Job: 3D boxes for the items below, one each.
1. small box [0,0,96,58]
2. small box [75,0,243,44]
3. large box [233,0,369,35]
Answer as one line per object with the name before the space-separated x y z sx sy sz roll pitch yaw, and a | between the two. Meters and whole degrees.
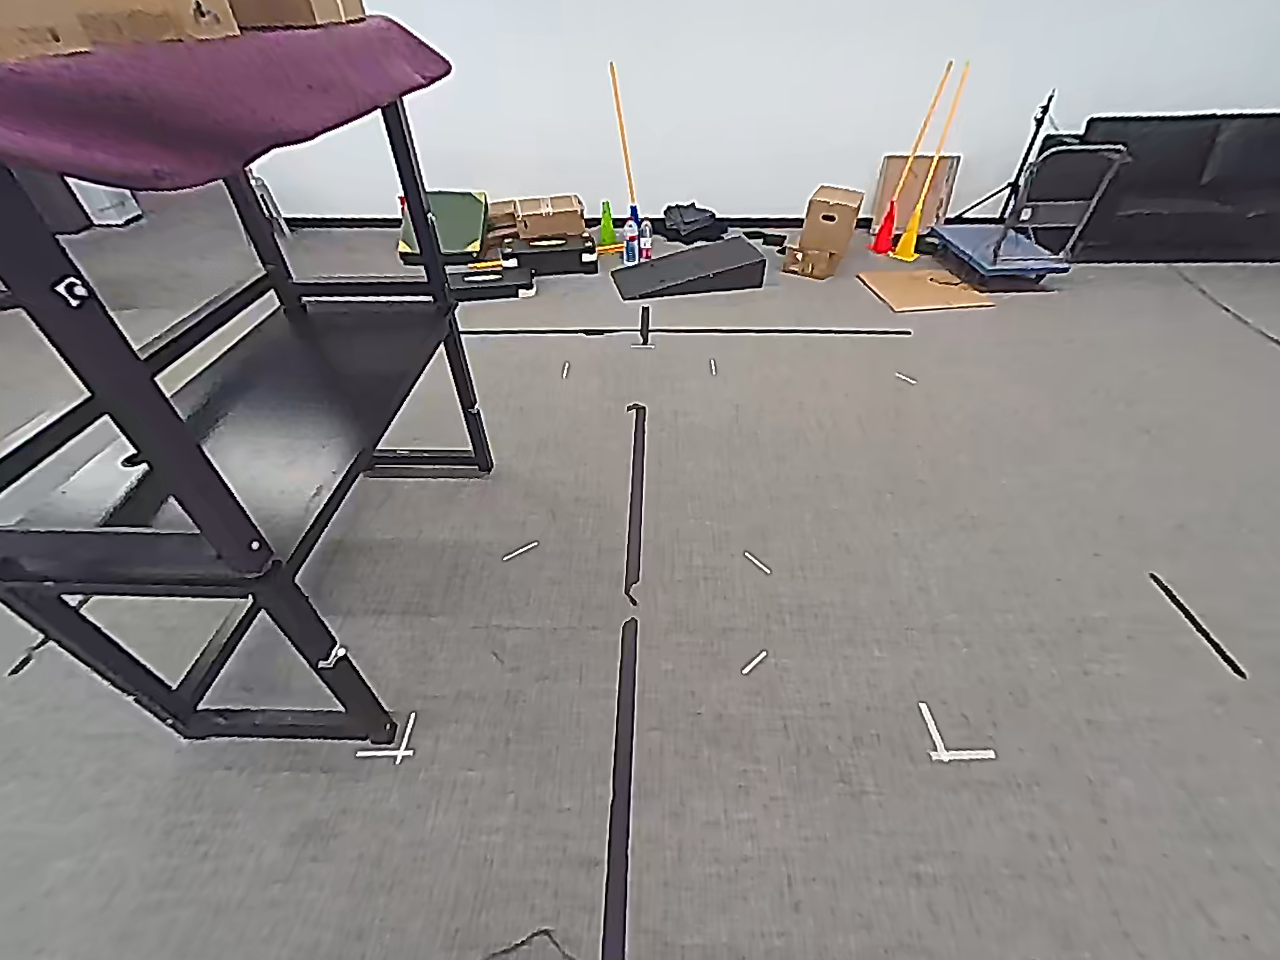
small box | -0.800 -0.580 0.606 0.179 0.176 0.168 -5 42 -4
small box | -0.797 -0.811 0.865 0.179 0.176 0.168 -1 43 -1
large box | -0.854 -1.130 1.117 0.408 0.320 0.320 -2 42 0
